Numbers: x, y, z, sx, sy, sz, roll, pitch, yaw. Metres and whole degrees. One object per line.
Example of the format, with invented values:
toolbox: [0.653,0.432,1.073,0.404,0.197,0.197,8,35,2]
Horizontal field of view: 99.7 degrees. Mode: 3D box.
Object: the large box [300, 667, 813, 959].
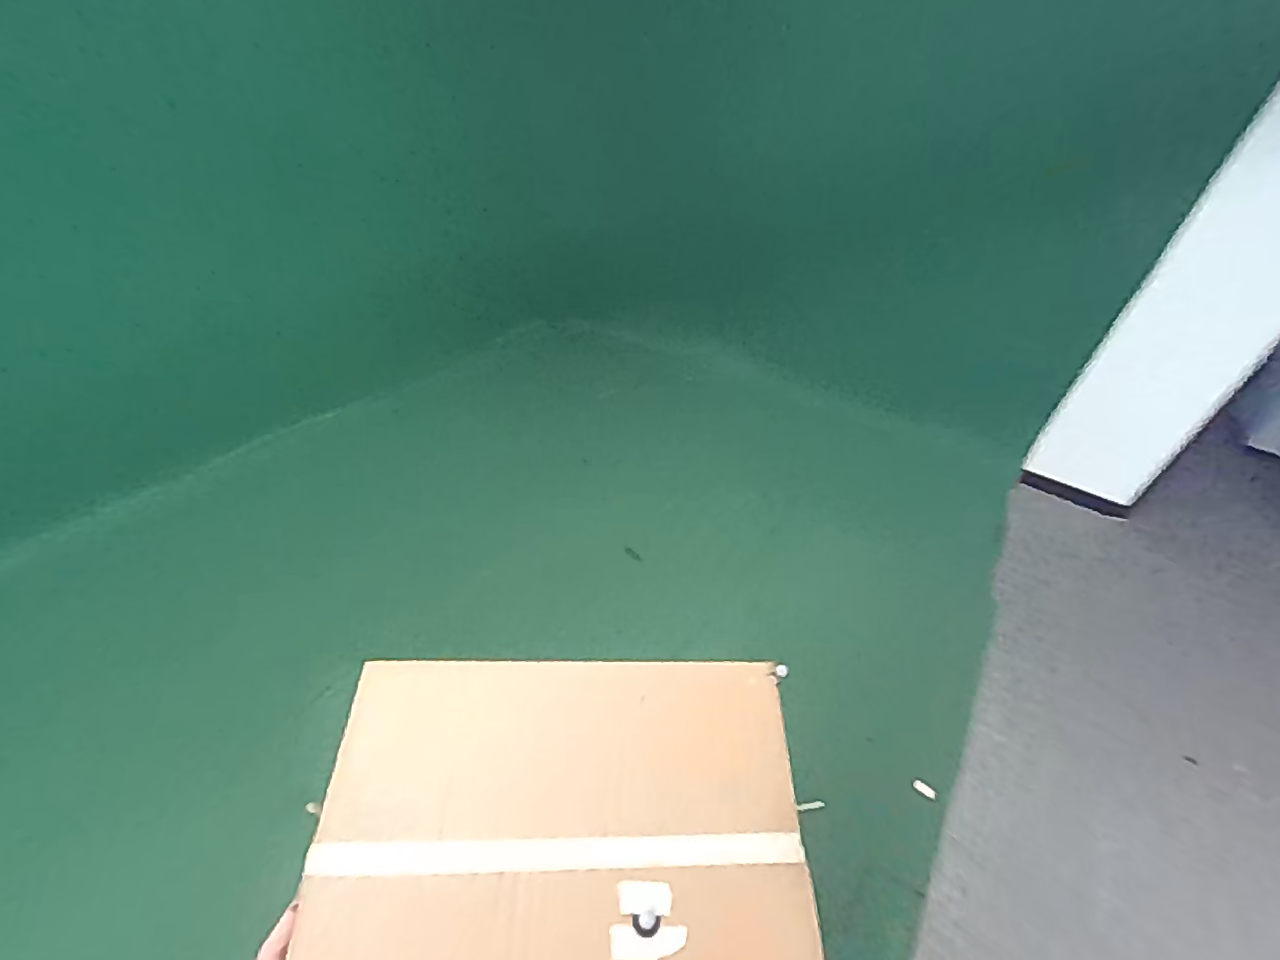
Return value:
large box: [-0.073,0.405,0.578,0.408,0.320,0.320,2,55,-4]
